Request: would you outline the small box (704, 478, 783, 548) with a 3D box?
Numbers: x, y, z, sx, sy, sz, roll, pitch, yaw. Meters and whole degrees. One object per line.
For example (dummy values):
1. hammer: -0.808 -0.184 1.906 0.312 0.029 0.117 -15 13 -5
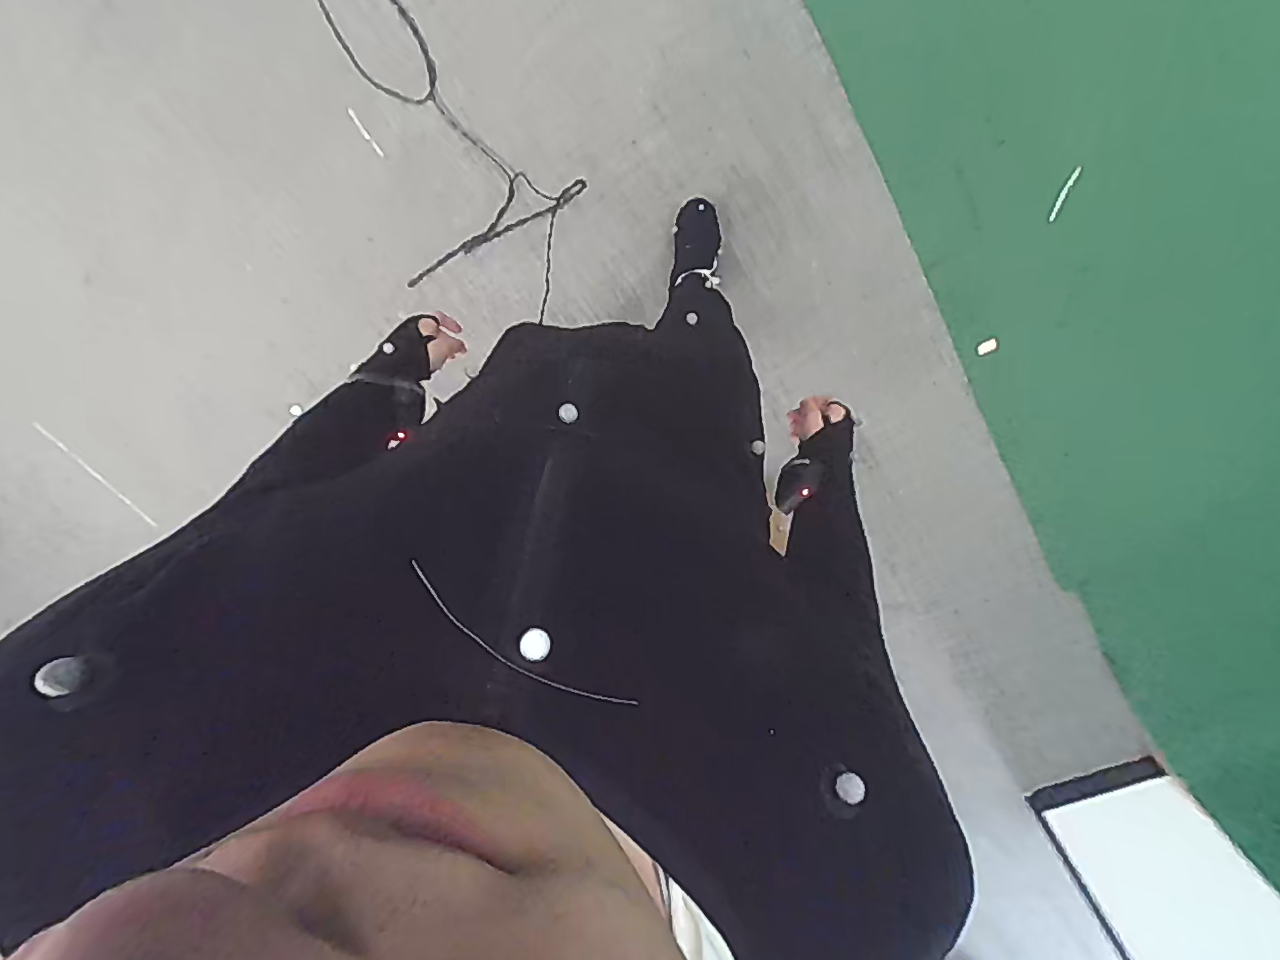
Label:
1. small box: 0.308 0.122 1.641 0.179 0.176 0.168 -30 109 17
